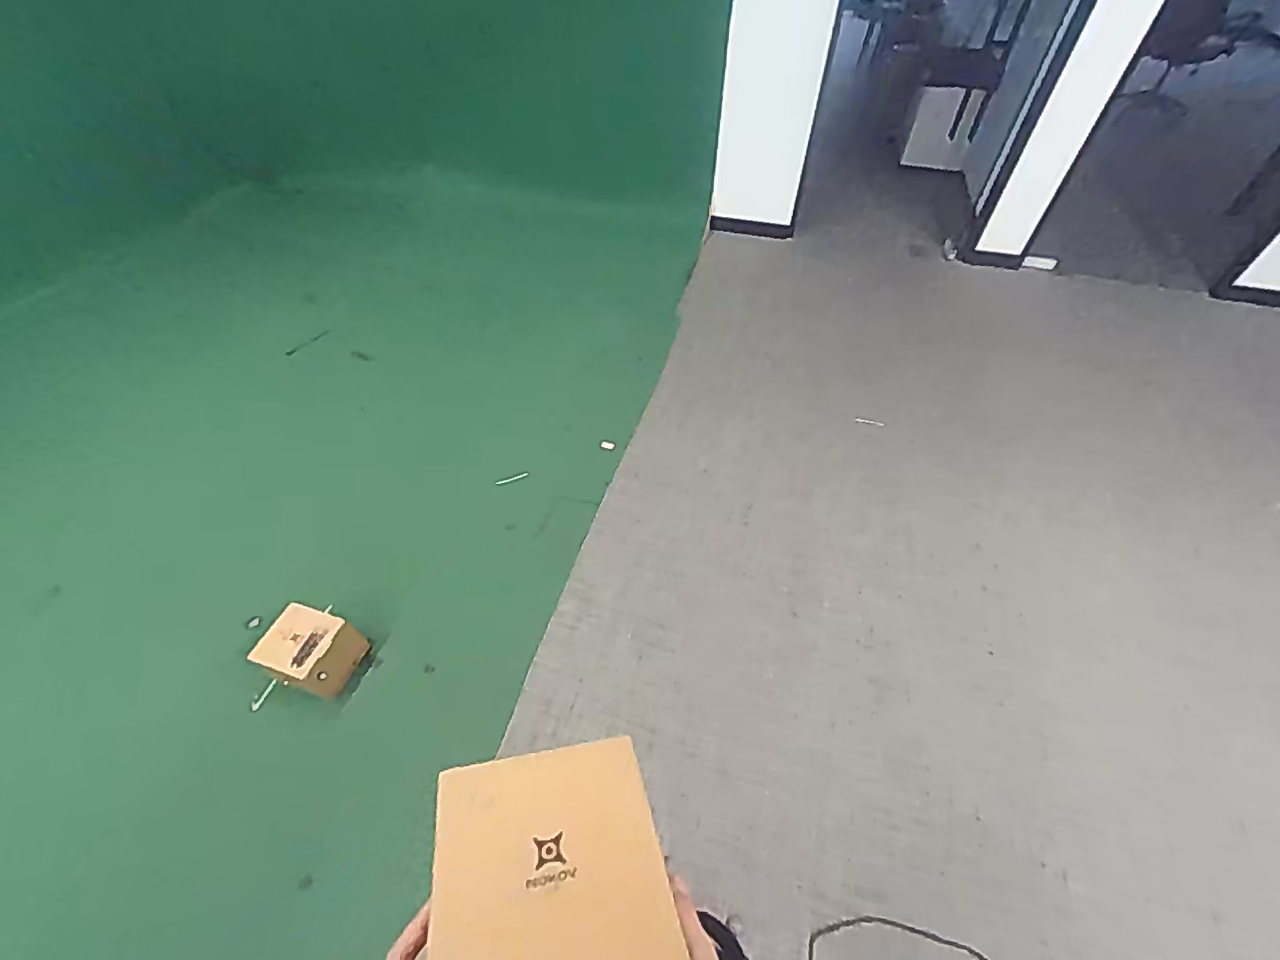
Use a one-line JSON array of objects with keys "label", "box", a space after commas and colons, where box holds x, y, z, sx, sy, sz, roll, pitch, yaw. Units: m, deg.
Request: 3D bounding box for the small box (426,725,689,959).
[{"label": "small box", "box": [-0.072, 0.337, 0.436, 0.168, 0.176, 0.179, -4, 30, -14]}]
